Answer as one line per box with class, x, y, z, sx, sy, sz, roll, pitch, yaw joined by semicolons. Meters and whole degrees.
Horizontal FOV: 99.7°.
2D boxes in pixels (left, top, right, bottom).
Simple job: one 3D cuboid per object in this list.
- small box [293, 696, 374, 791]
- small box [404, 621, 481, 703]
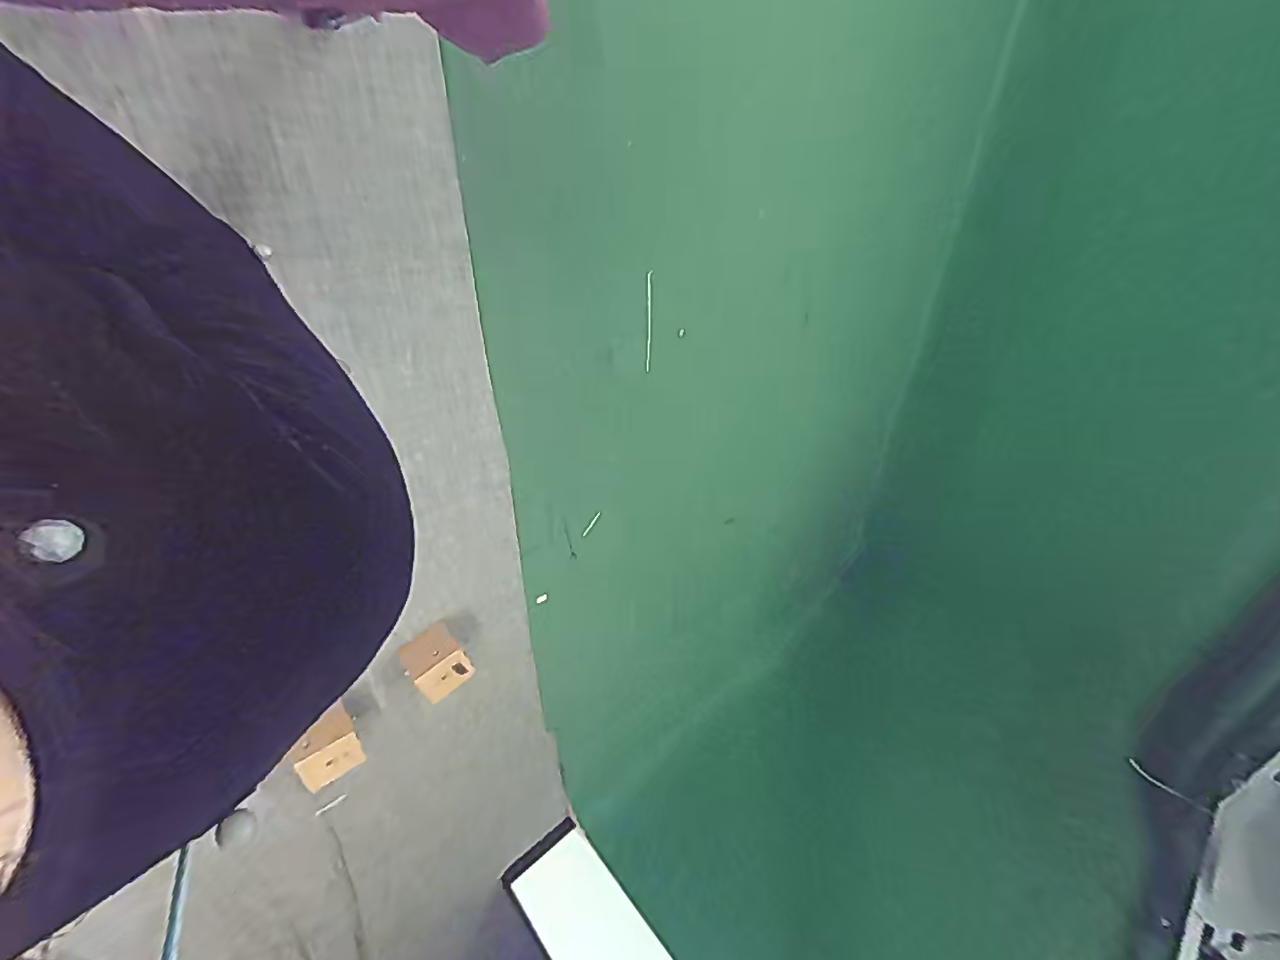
small box;-0.995;0.845;1.746;0.179;0.176;0.168;-25;132;-33
small box;-0.700;0.638;1.915;0.179;0.176;0.168;-35;136;-24
